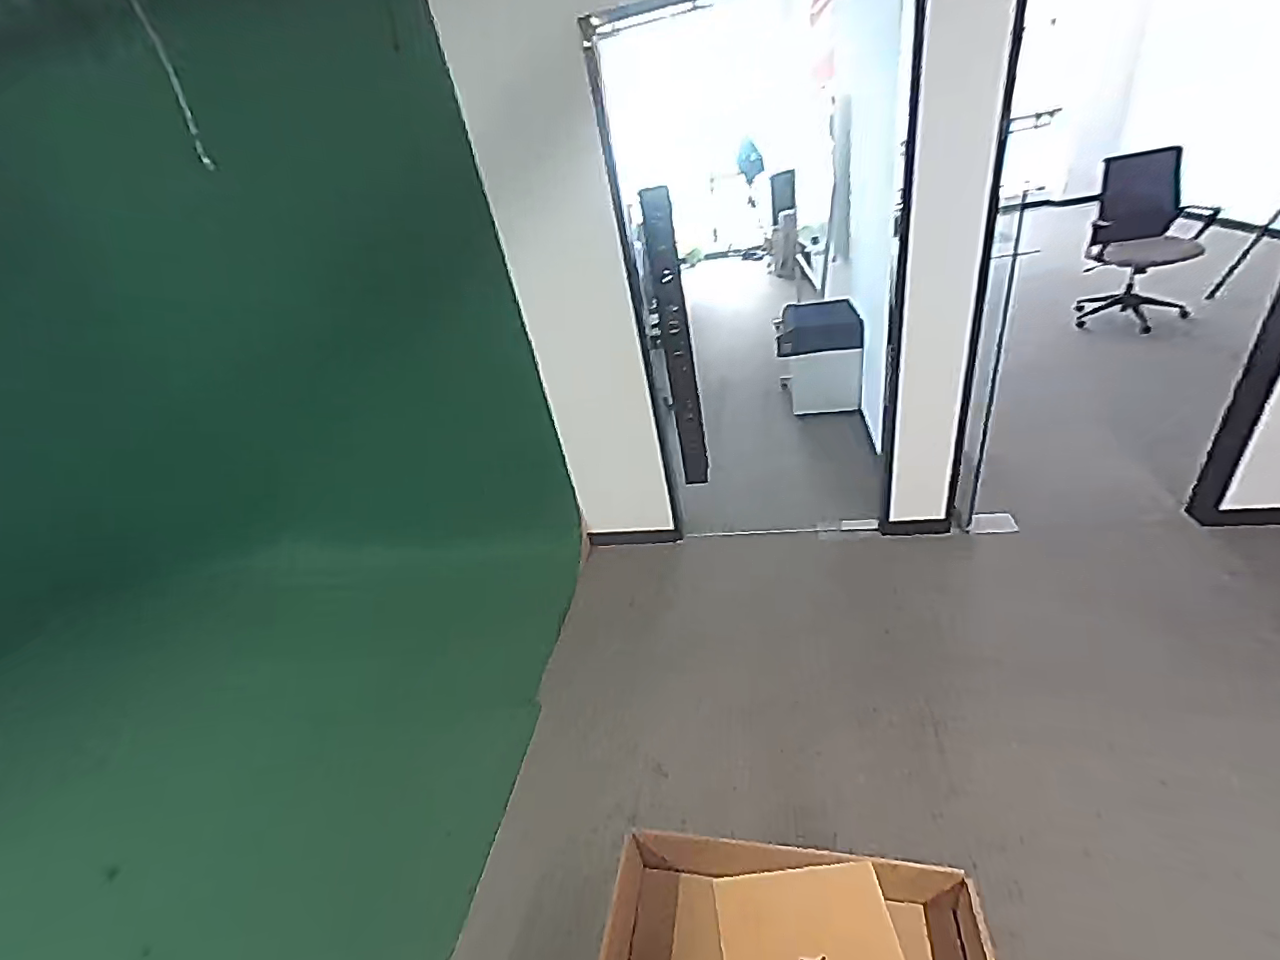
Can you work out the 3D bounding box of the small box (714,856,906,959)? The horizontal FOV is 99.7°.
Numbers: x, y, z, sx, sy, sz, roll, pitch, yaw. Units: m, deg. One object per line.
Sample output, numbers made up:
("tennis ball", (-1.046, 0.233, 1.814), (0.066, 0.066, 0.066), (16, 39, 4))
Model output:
("small box", (0.167, 0.506, 0.526), (0.168, 0.176, 0.179), (-8, 35, 2))
